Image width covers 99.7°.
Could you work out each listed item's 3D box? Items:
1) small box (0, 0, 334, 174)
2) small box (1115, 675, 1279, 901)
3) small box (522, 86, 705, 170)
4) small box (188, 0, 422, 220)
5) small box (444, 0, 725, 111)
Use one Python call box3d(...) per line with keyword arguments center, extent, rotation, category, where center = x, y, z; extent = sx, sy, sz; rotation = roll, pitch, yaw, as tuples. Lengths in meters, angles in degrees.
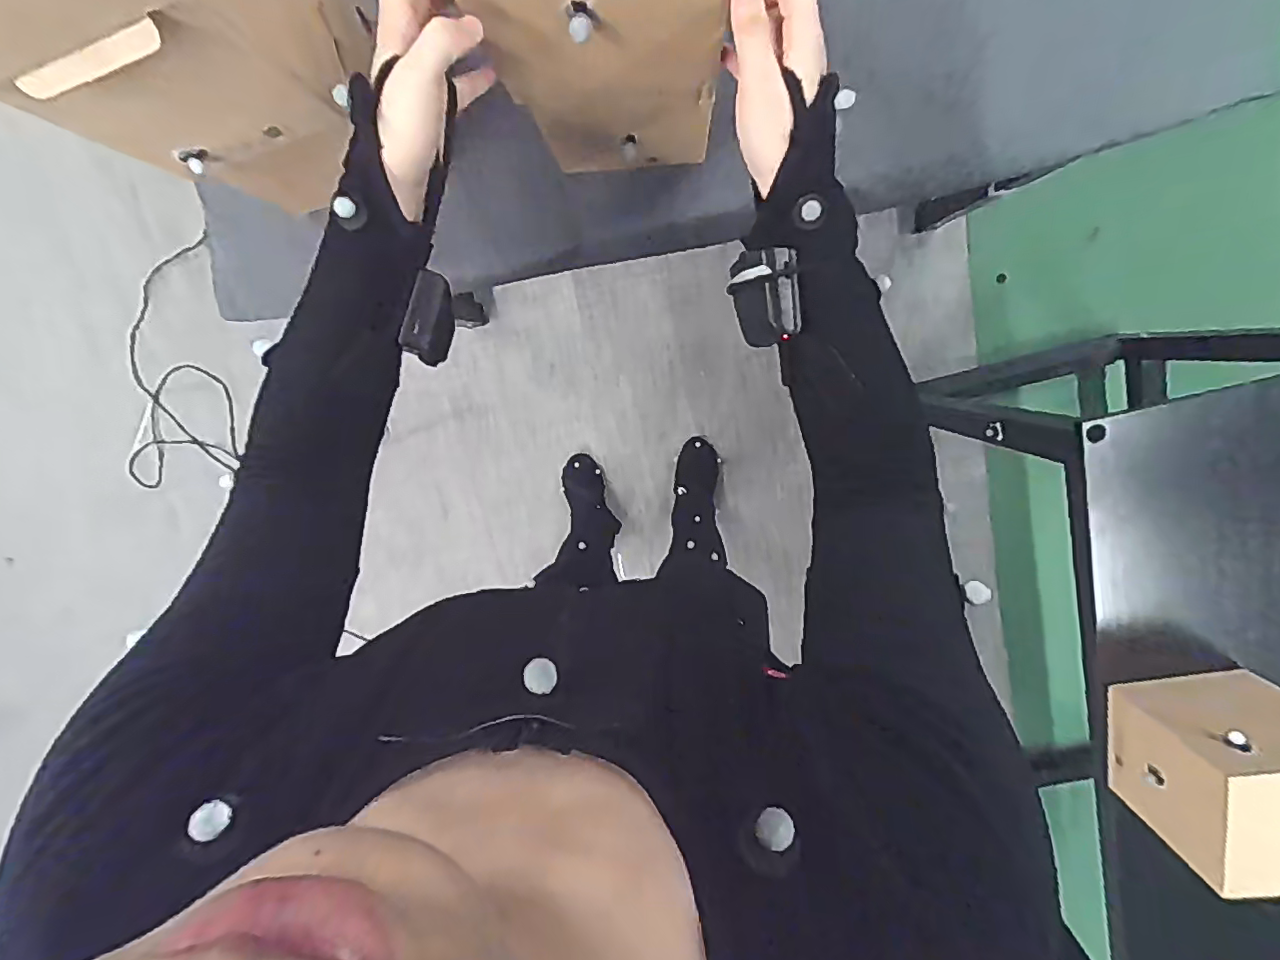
box3d(center=(-0.370, -0.357, 0.400), extent=(0.168, 0.176, 0.179), rotation=(-17, 98, 6), category="small box")
box3d(center=(0.730, 0.362, 0.659), extent=(0.179, 0.176, 0.168), rotation=(-10, 103, 6), category="small box")
box3d(center=(-0.020, -0.424, 0.529), extent=(0.168, 0.176, 0.179), rotation=(-2, 102, 5), category="small box")
box3d(center=(-0.351, -0.394, 0.559), extent=(0.179, 0.176, 0.168), rotation=(-13, 100, 7), category="small box")
box3d(center=(-0.027, -0.381, 0.371), extent=(0.179, 0.176, 0.168), rotation=(3, 102, 4), category="small box")
